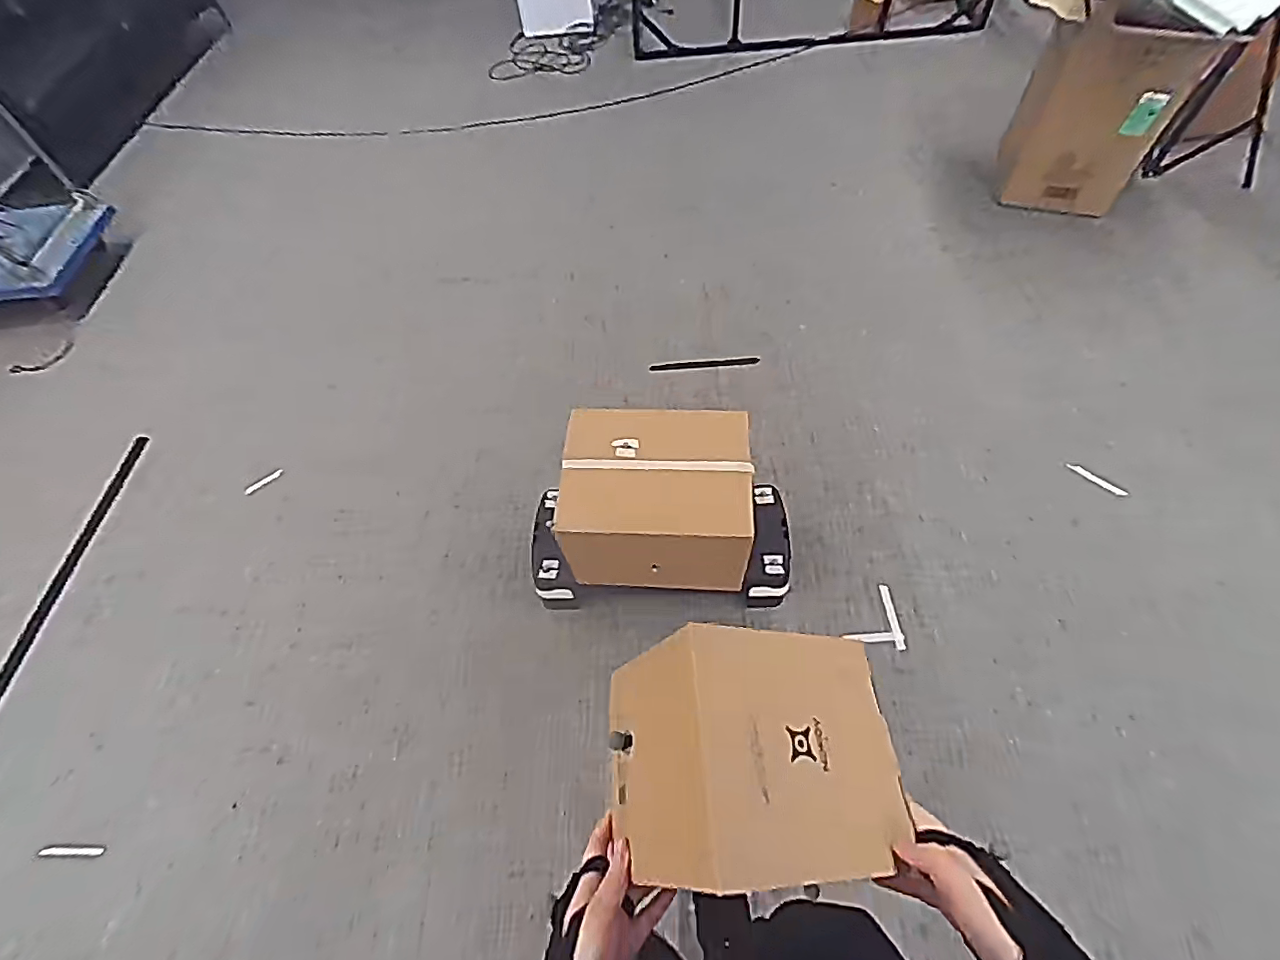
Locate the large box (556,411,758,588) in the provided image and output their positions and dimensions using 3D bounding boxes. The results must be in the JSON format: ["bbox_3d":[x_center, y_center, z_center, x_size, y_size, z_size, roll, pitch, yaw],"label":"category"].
[{"bbox_3d":[0.051,0.057,1.261,0.408,0.320,0.320,0,58,6],"label":"large box"}]

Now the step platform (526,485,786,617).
[{"bbox_3d":[0.043,0.184,1.464,0.684,0.204,0.286,2,59,7],"label":"step platform"}]
